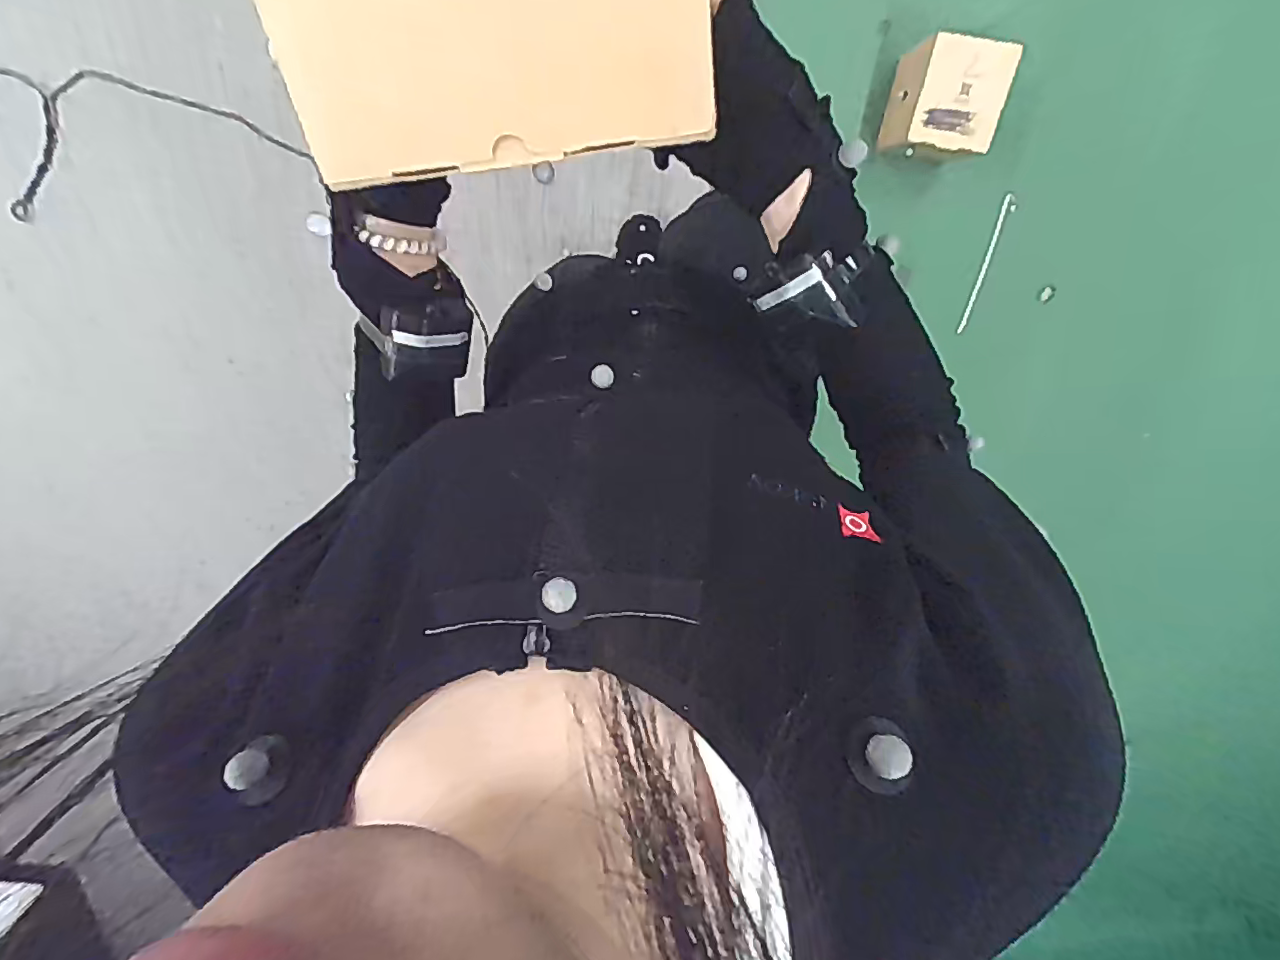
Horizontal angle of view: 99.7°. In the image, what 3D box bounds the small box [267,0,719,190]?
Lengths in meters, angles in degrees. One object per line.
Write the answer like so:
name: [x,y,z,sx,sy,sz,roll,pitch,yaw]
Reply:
small box: [-0.054,-0.245,0.245,0.168,0.176,0.179,-4,123,7]
